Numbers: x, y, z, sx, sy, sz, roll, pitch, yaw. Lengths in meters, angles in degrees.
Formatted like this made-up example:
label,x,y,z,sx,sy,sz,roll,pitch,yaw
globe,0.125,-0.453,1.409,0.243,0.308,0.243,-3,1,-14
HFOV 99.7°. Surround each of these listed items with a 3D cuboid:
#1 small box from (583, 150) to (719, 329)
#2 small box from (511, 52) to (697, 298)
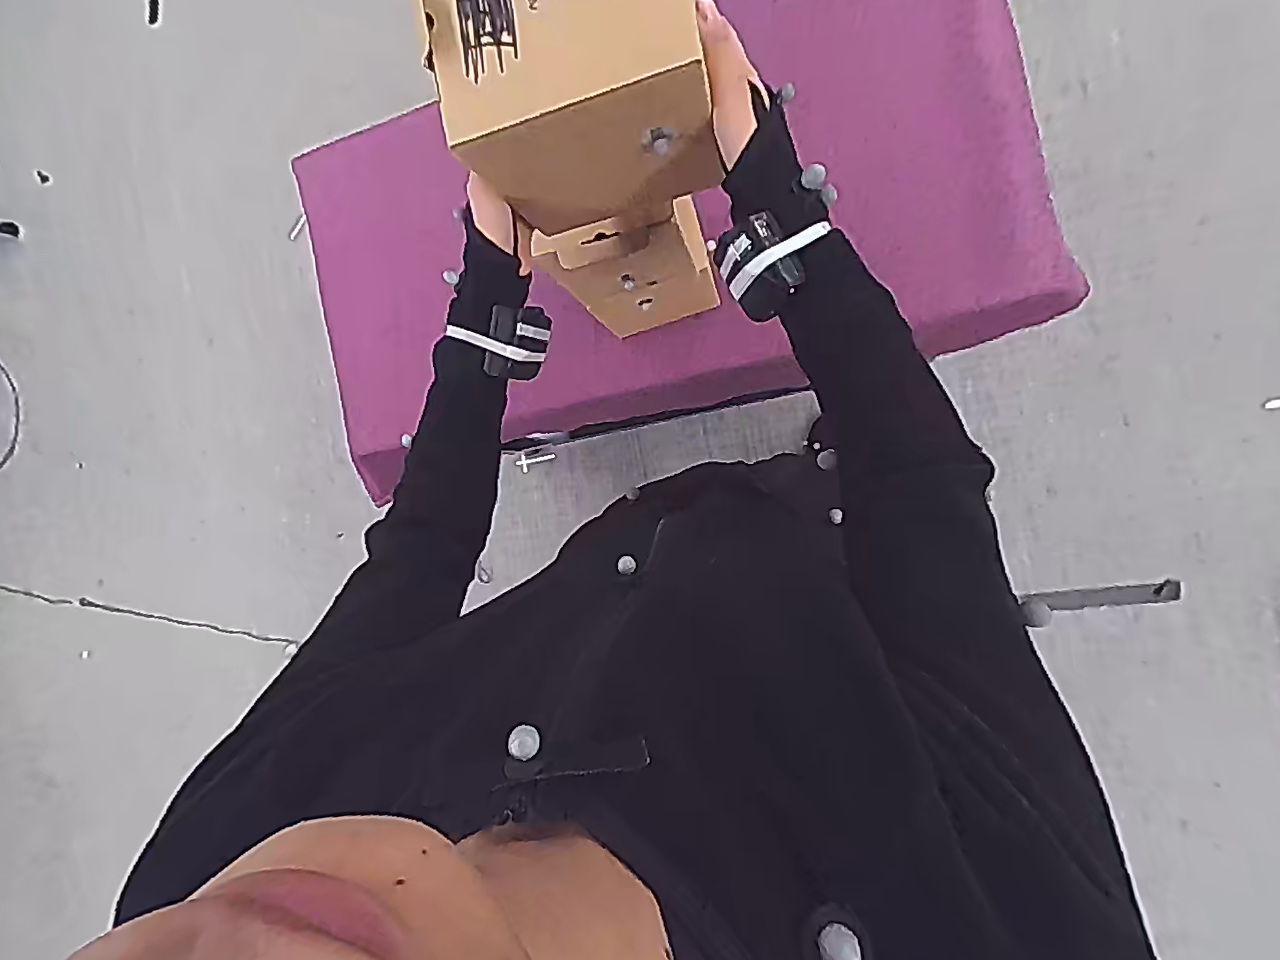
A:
label,x,y,z,sx,sy,sz,roll,pitch,yaw
small box,0.009,-0.342,0.805,0.179,0.176,0.168,-15,88,13
small box,-0.033,-0.343,0.646,0.168,0.176,0.179,-9,89,15
